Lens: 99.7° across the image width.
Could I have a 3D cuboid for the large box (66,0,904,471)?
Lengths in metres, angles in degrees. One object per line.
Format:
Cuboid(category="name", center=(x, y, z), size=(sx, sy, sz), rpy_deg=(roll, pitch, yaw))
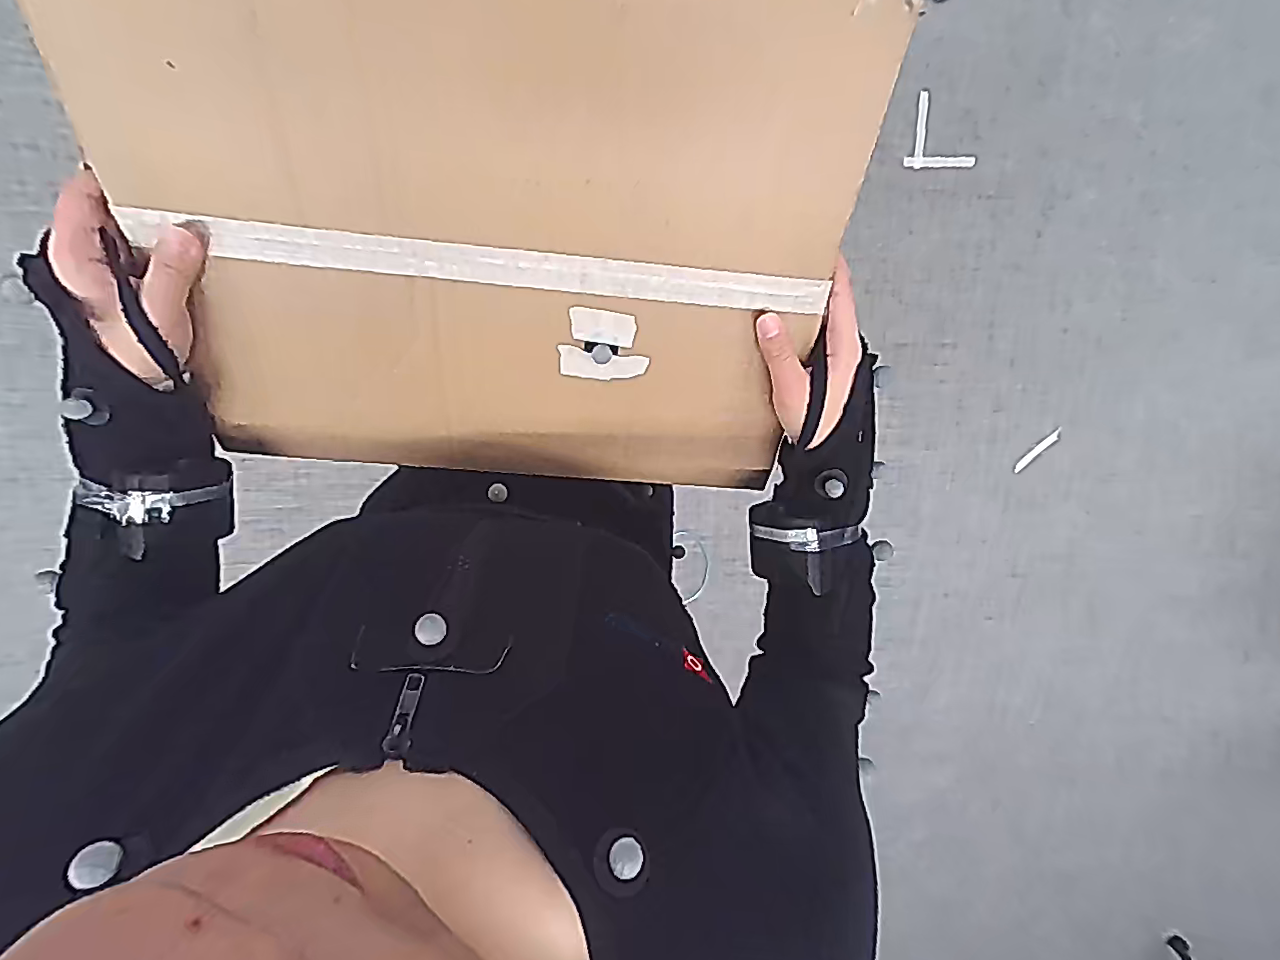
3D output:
Cuboid(category="large box", center=(-0.090, -0.226, 0.448), size=(0.408, 0.320, 0.320), rpy_deg=(3, 129, -6))
